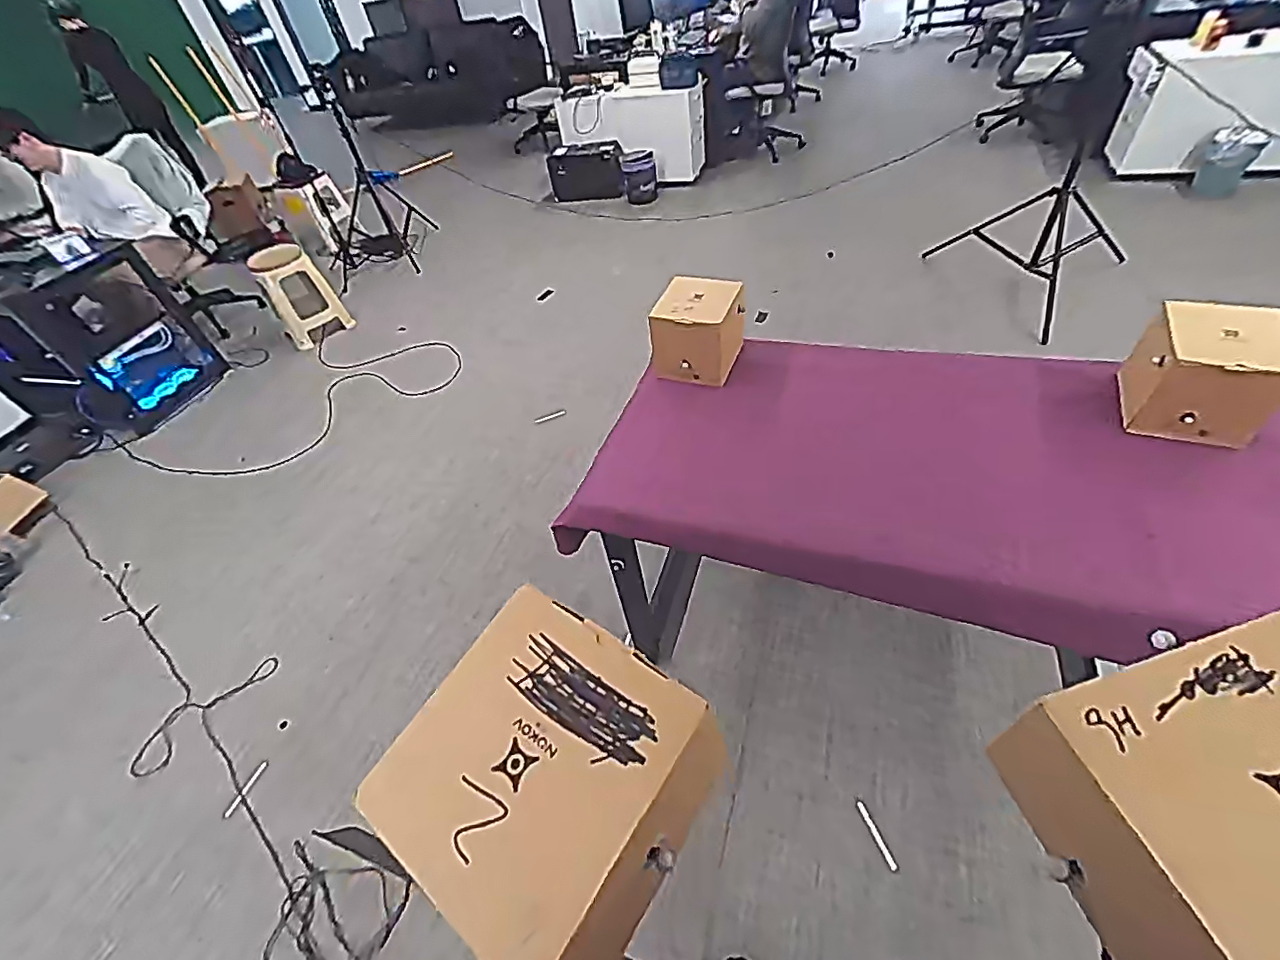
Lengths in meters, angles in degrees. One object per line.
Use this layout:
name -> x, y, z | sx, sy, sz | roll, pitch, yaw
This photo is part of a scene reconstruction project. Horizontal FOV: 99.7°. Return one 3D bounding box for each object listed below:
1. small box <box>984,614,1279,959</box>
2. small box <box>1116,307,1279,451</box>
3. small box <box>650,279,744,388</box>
small box -> 0.367, 0.218, 0.348 | 0.168, 0.176, 0.179 | -22, 52, 3
small box -> 0.990, -0.180, 0.962 | 0.168, 0.176, 0.179 | 13, 55, 21
small box -> 0.137, -0.340, 1.255 | 0.168, 0.176, 0.179 | 13, 53, 21
